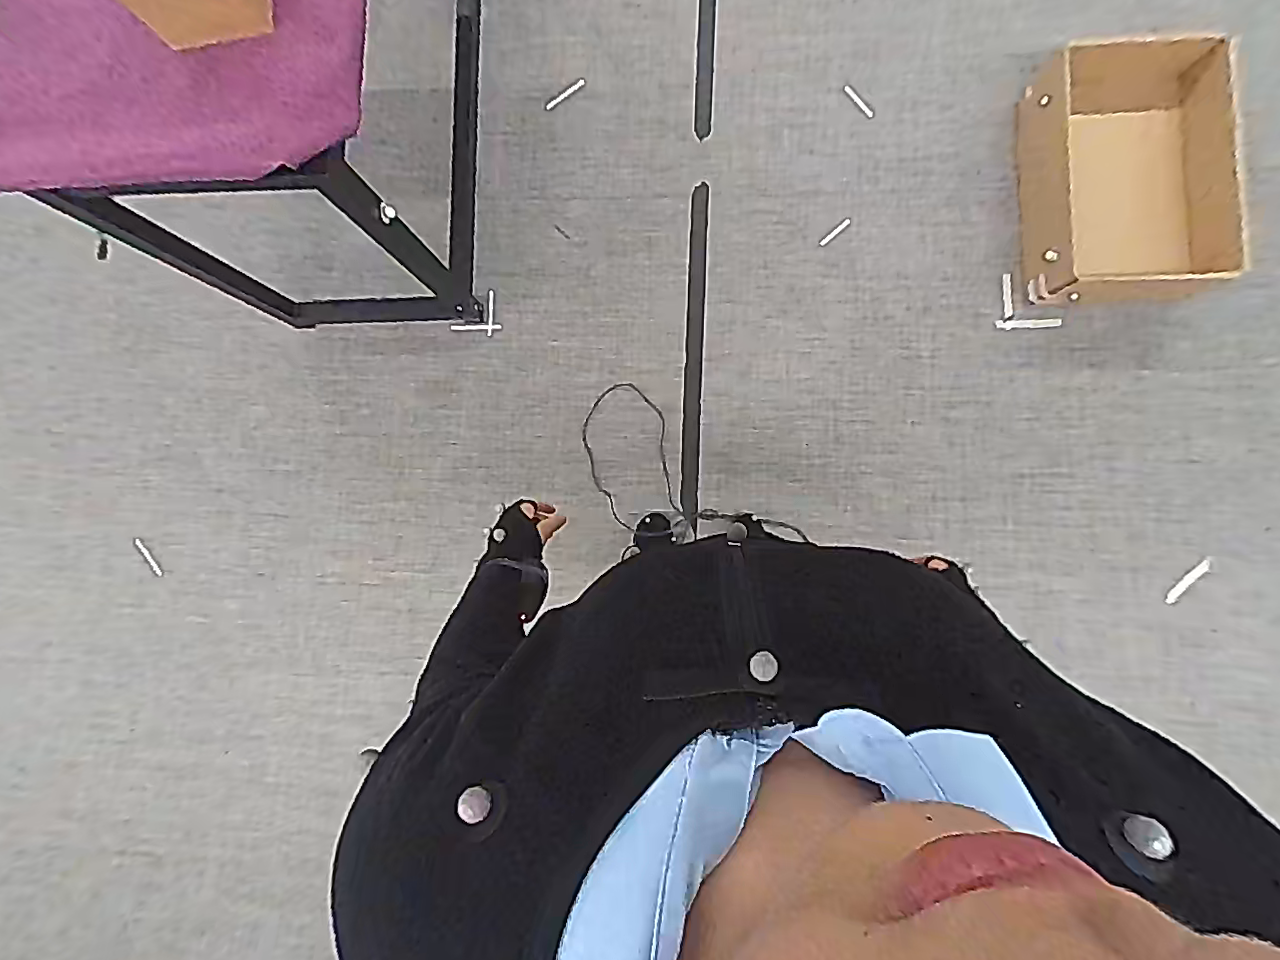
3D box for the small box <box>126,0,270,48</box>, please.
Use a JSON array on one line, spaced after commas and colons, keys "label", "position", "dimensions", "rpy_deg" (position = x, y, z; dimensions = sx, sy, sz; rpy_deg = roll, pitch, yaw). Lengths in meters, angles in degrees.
[{"label": "small box", "position": [-0.694, -0.806, 0.816], "dimensions": [0.179, 0.176, 0.168], "rpy_deg": [-7, 85, 4]}]
